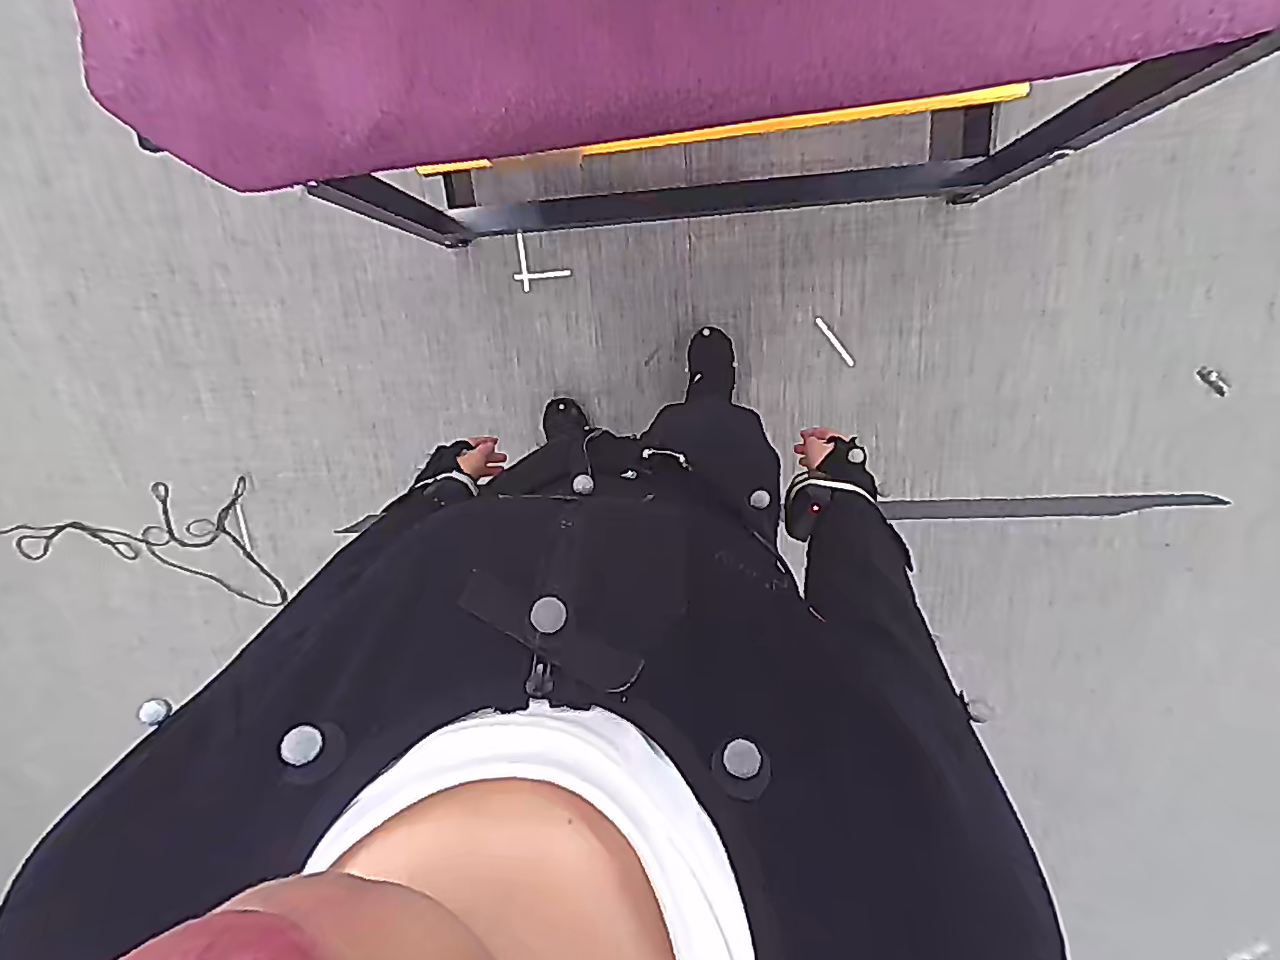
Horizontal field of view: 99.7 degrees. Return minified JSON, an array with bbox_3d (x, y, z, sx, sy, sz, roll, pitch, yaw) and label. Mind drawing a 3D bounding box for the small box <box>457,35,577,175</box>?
[{"bbox_3d":[-0.218,-0.690,1.015,0.179,0.176,0.168,-4,106,5],"label":"small box"}]
